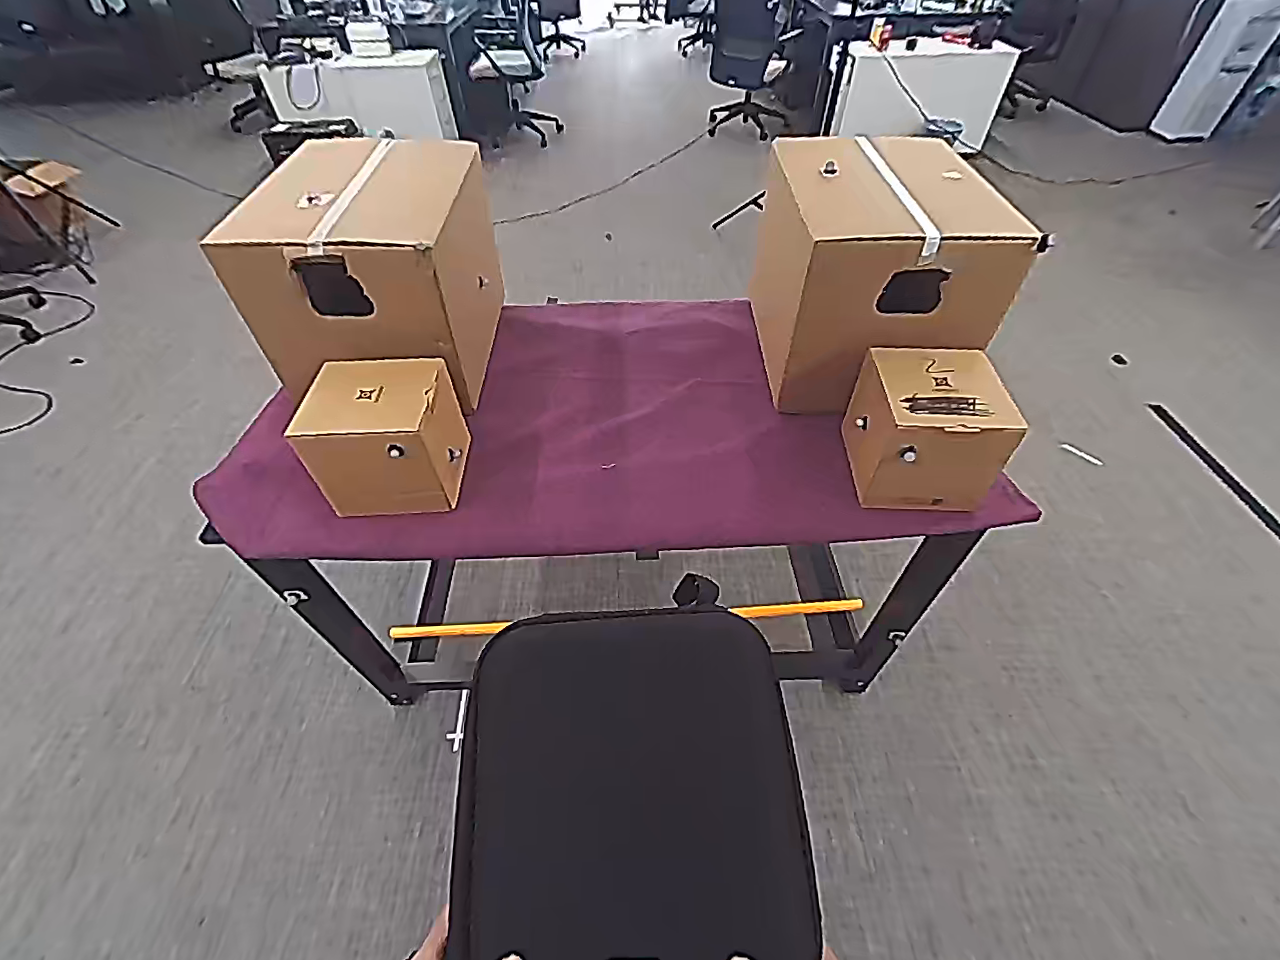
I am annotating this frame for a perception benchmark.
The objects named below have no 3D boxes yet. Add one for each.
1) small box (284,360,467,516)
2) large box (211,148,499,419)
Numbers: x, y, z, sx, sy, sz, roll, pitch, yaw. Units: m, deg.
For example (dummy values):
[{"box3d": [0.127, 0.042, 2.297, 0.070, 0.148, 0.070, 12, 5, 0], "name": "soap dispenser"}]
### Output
[{"box3d": [-0.377, -0.059, 0.810, 0.179, 0.176, 0.168, -3, 47, -3], "name": "small box"}, {"box3d": [-0.450, -0.355, 0.980, 0.320, 0.320, 0.408, -2, 50, -2], "name": "large box"}]
